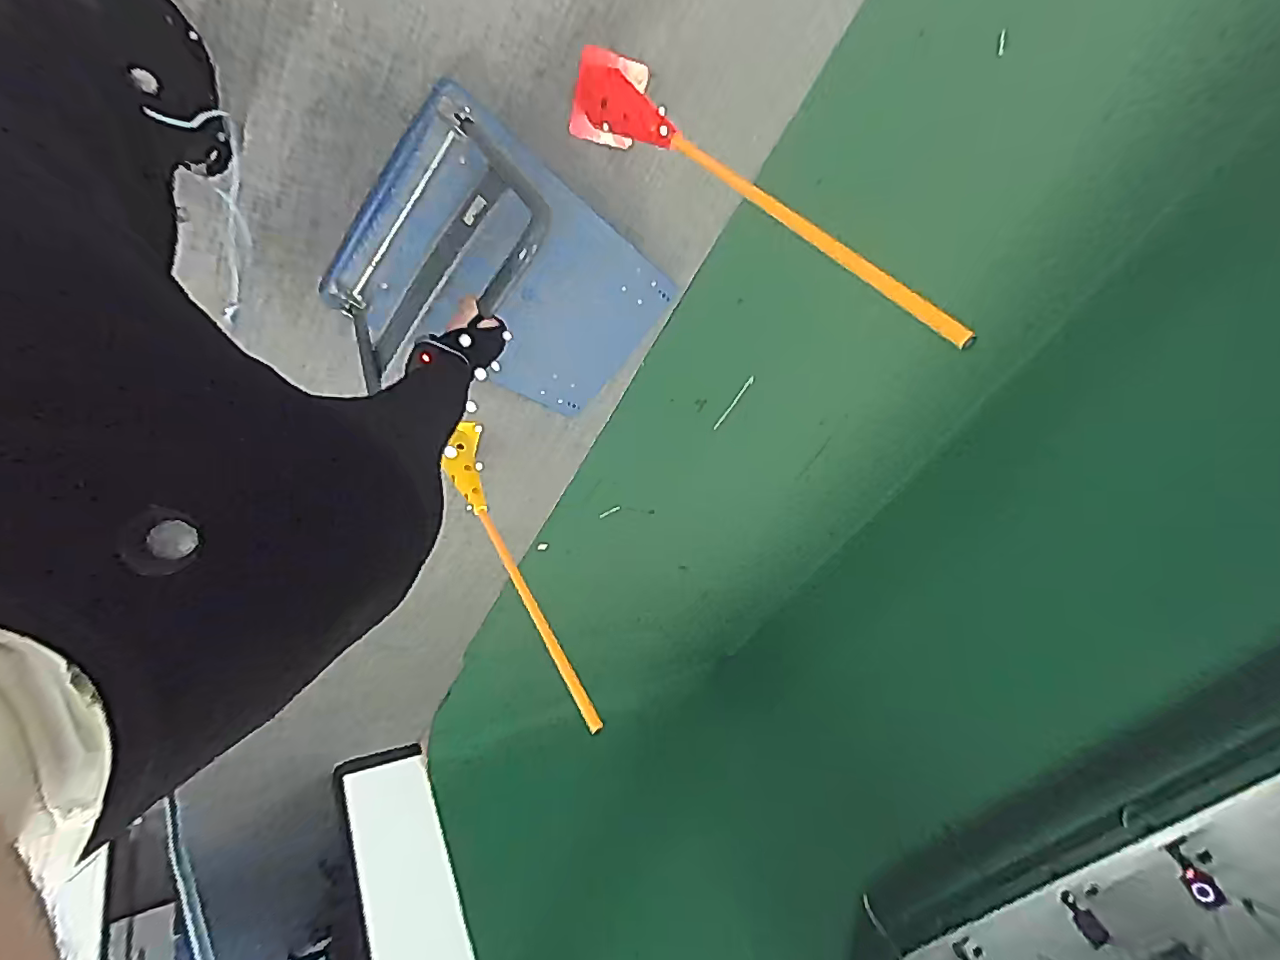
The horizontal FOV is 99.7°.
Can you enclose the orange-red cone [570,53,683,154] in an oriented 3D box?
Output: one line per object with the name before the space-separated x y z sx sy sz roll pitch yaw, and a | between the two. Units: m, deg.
orange-red cone | -0.003 -0.887 1.344 0.198 0.360 0.199 -8 135 -34
